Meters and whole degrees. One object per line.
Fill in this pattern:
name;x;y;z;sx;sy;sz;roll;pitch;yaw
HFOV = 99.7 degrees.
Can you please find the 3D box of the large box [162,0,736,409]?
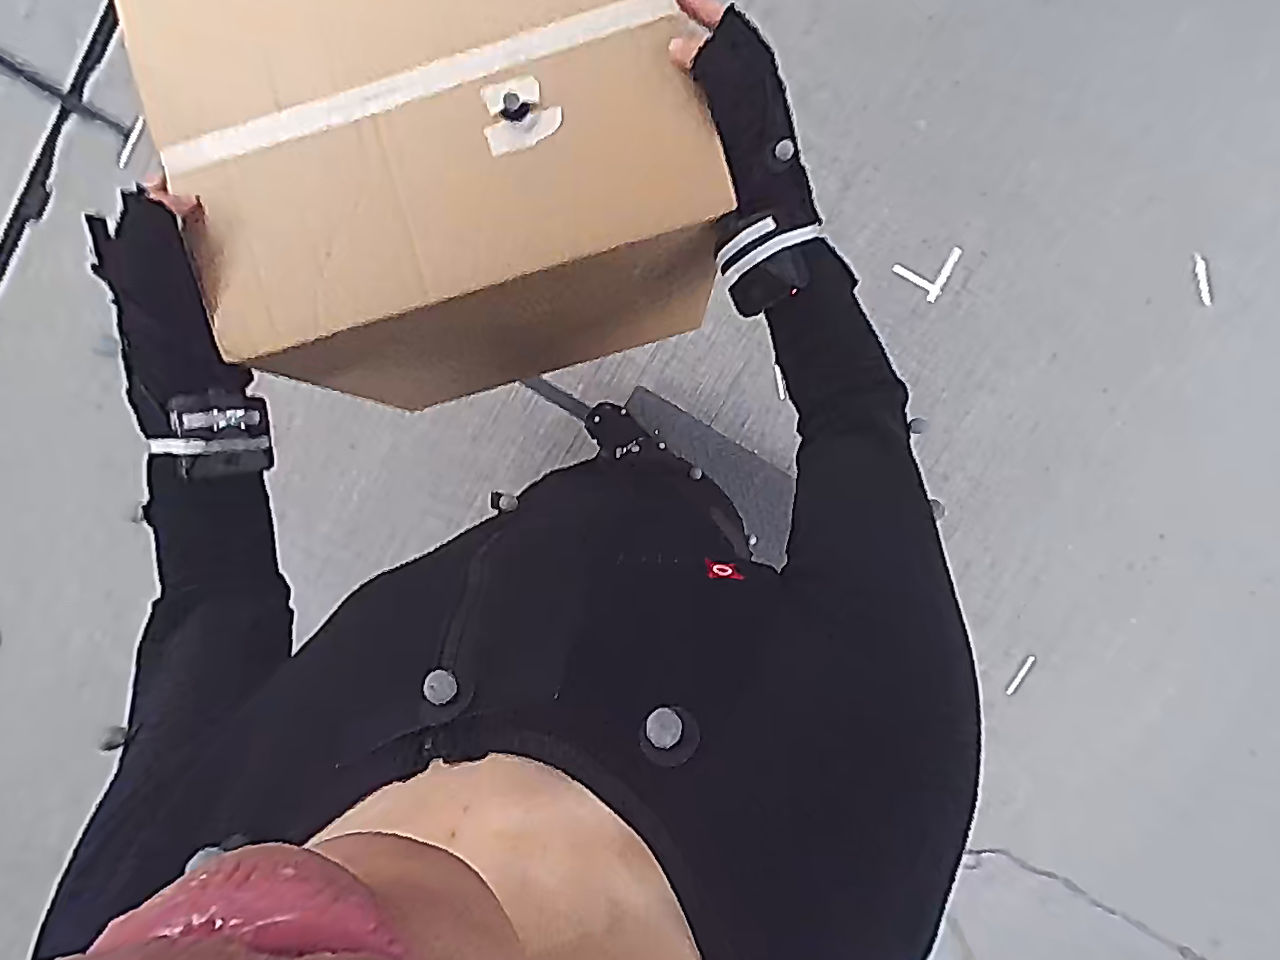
large box;-0.152;-0.296;0.573;0.408;0.320;0.320;-16;90;1
